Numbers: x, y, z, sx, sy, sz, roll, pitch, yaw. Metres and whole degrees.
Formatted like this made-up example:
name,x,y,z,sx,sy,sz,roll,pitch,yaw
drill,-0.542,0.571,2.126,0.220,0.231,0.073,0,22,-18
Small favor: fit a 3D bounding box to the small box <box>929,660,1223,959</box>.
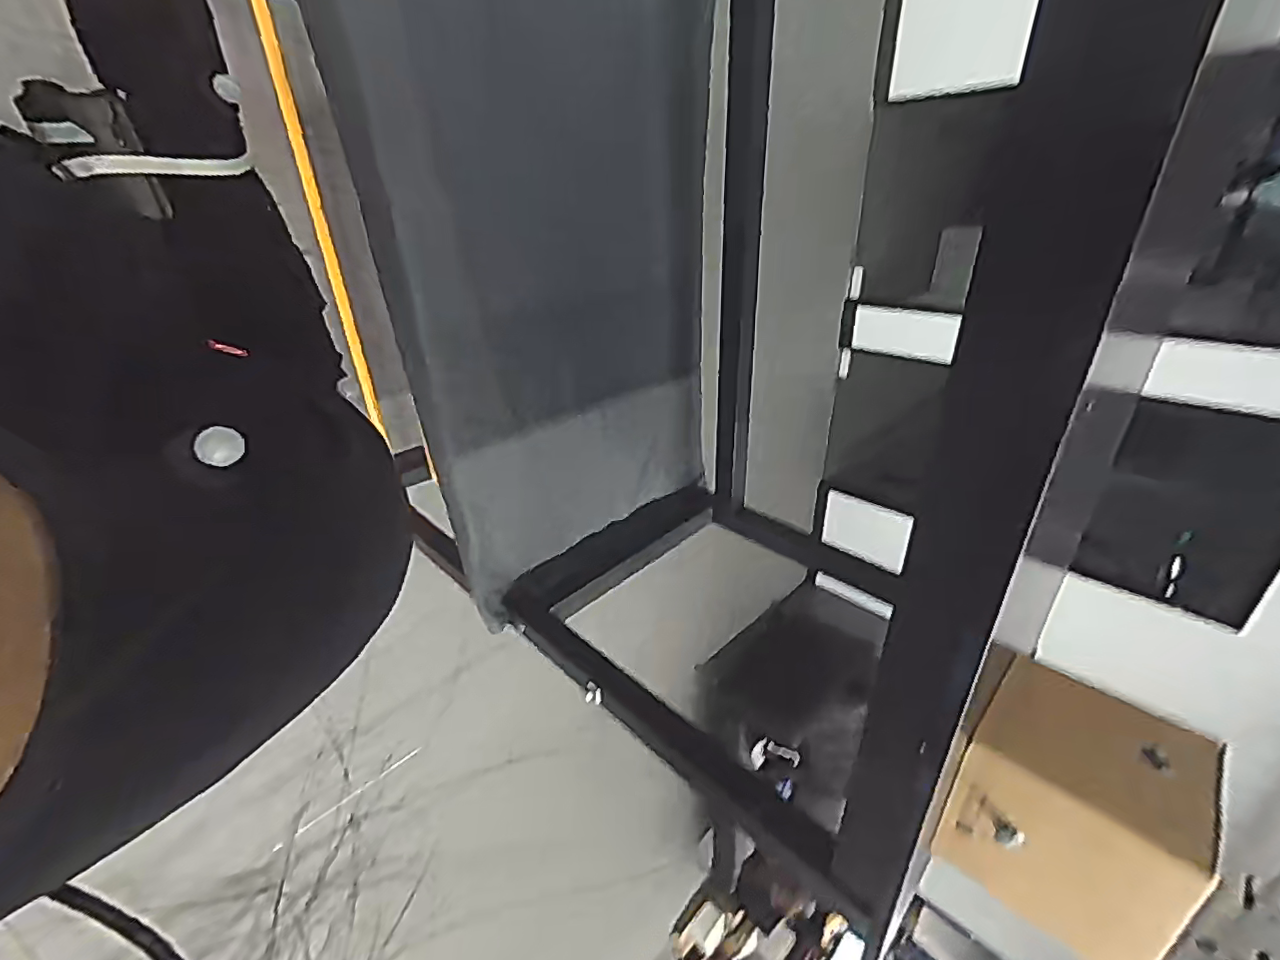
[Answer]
name,x,y,z,sx,sy,sz,roll,pitch,yaw
small box,0.417,0.313,0.532,0.179,0.176,0.168,-20,122,-40
